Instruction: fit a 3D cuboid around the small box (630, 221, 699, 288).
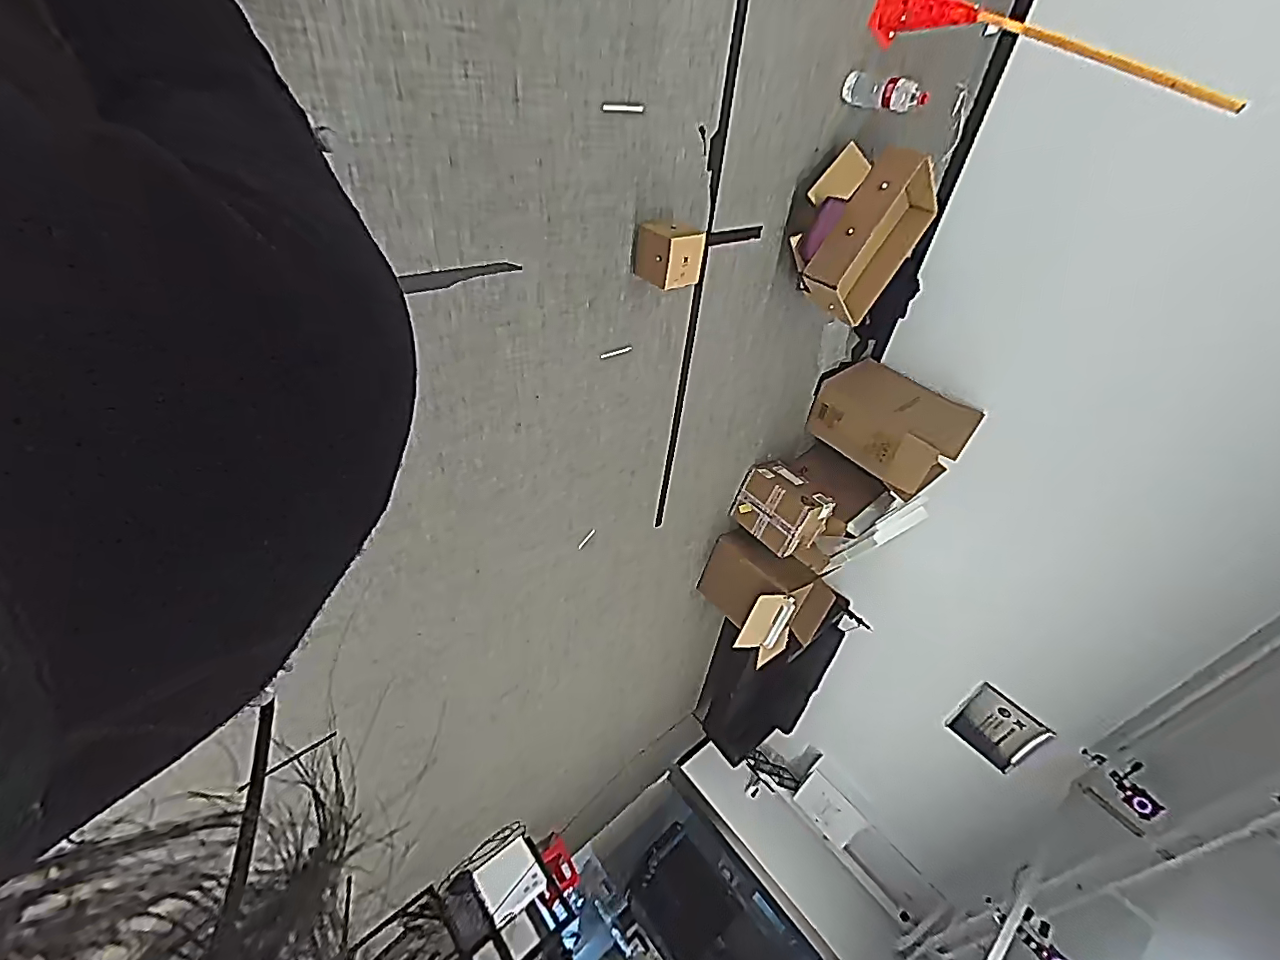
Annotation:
[{"bbox_3d":[0.081,-0.802,1.905,0.168,0.176,0.179,-25,140,-33],"label":"small box"}]
